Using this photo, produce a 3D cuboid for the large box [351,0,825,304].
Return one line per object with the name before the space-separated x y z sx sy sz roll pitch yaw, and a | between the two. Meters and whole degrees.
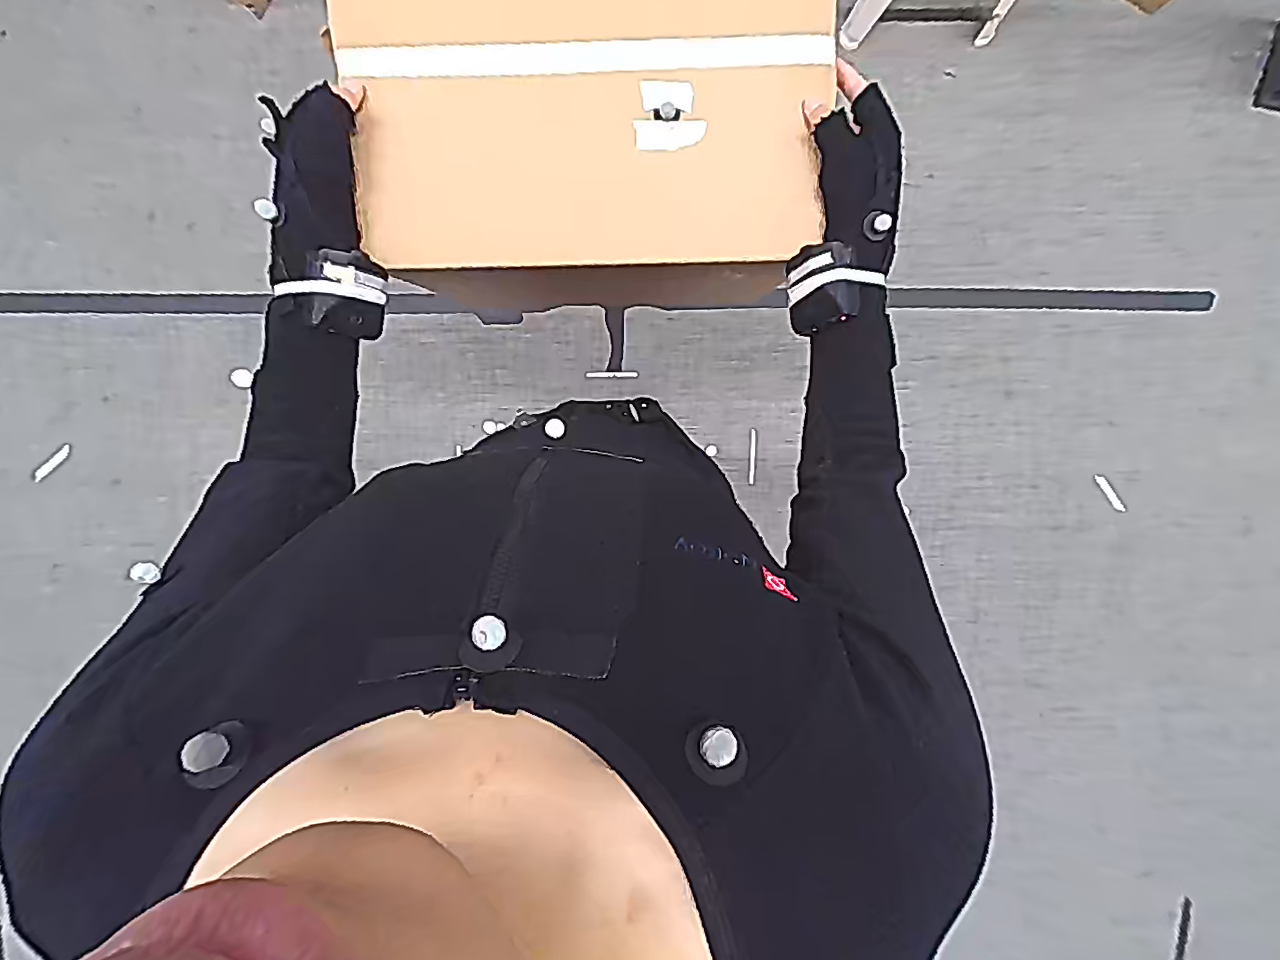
large box | -0.045 -0.381 0.606 0.408 0.320 0.320 -2 103 -1
